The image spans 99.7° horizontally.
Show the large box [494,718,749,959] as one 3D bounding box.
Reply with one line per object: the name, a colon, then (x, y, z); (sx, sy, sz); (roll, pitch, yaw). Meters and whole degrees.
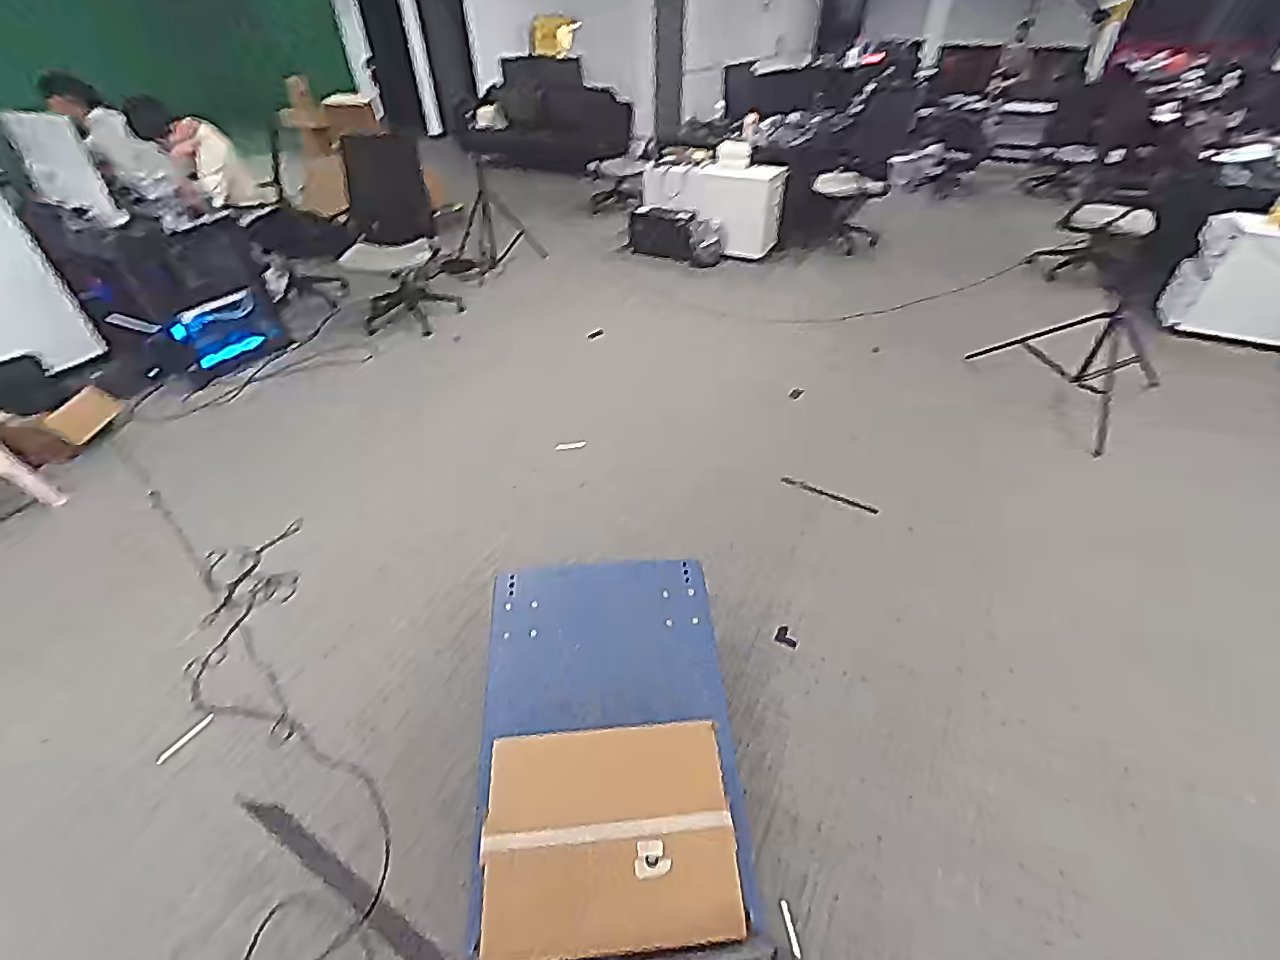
large box: (-0.047, 0.675, 1.028); (0.408, 0.320, 0.320); (-4, 55, -5)
